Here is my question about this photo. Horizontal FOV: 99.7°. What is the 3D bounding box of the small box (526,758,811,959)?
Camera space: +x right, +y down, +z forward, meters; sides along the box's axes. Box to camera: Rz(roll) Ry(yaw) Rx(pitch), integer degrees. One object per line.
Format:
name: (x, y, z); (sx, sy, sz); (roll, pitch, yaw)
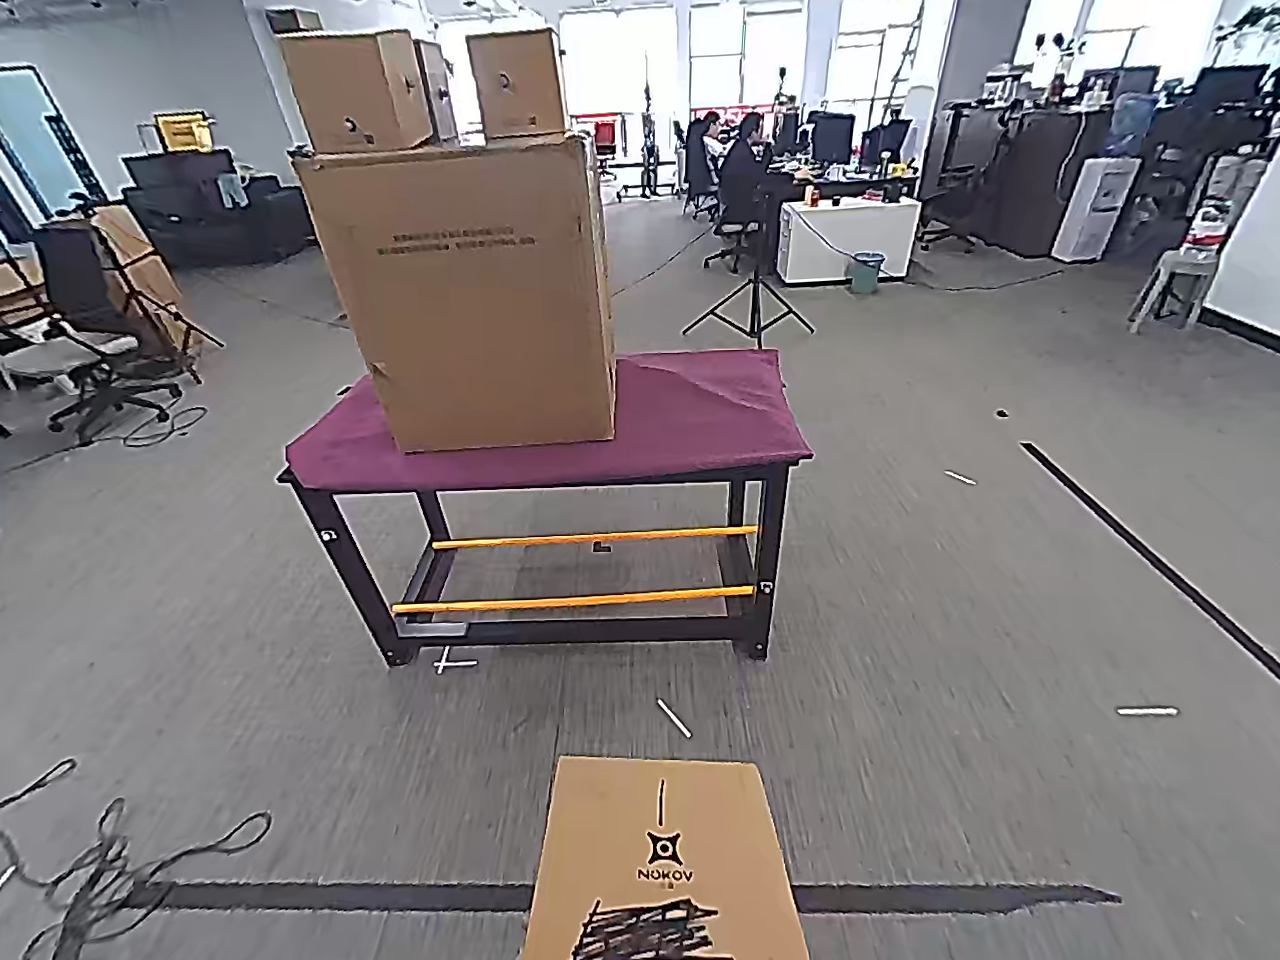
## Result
small box: (0.015, 0.333, 0.384); (0.168, 0.176, 0.179); (2, 16, -1)

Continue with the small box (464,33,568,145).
small box: (-0.244, -0.796, 1.114); (0.168, 0.176, 0.179); (-5, 35, 0)
